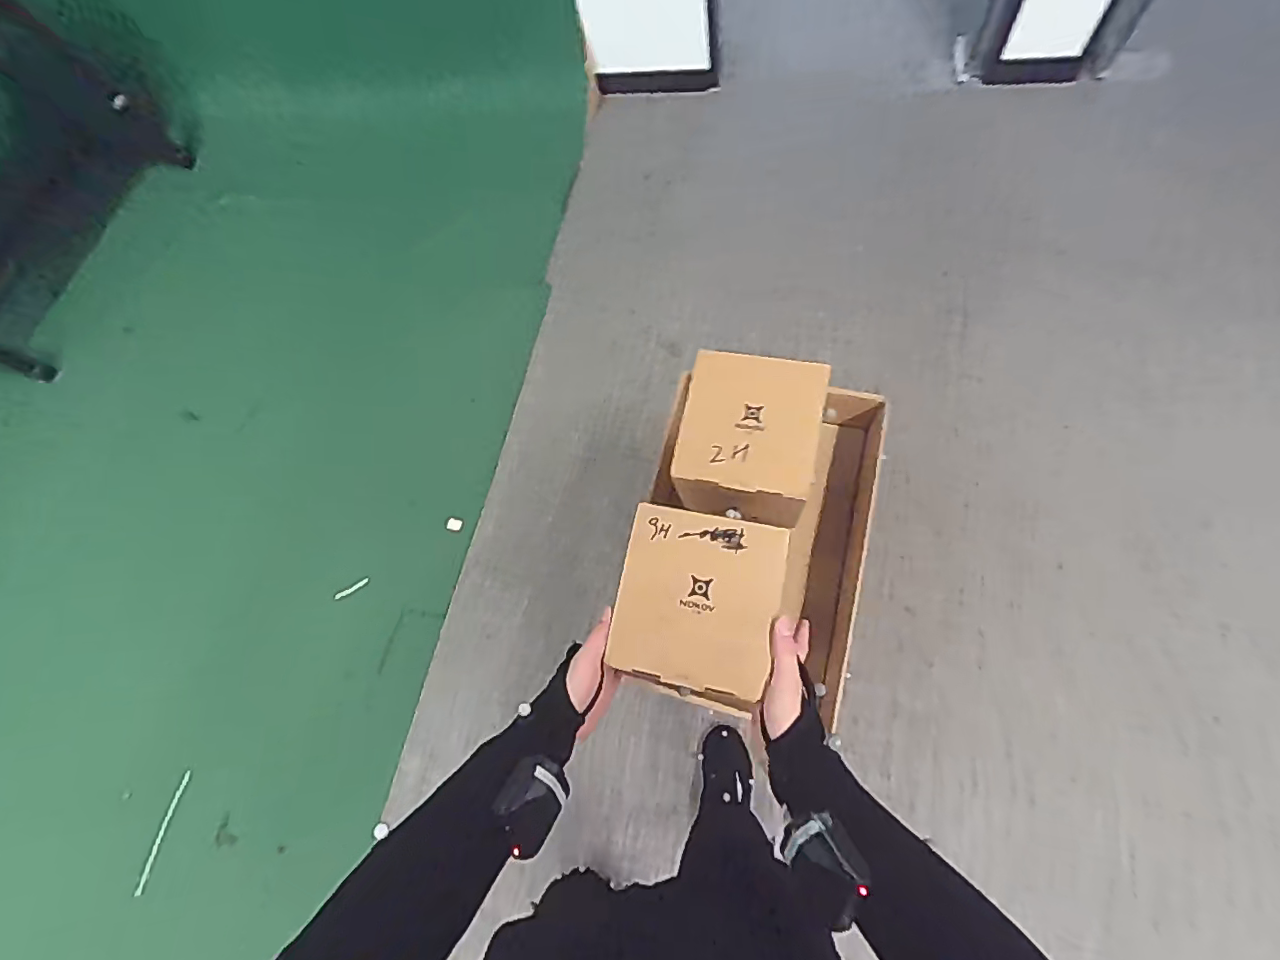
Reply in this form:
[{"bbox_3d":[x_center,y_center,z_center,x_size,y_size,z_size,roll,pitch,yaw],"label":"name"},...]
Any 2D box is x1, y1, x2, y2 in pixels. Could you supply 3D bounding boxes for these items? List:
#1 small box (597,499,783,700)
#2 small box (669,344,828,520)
[{"bbox_3d":[0.063,0.137,0.624,0.168,0.176,0.179,9,74,11],"label":"small box"},{"bbox_3d":[0.146,-0.058,0.730,0.168,0.176,0.179,10,77,14],"label":"small box"}]
